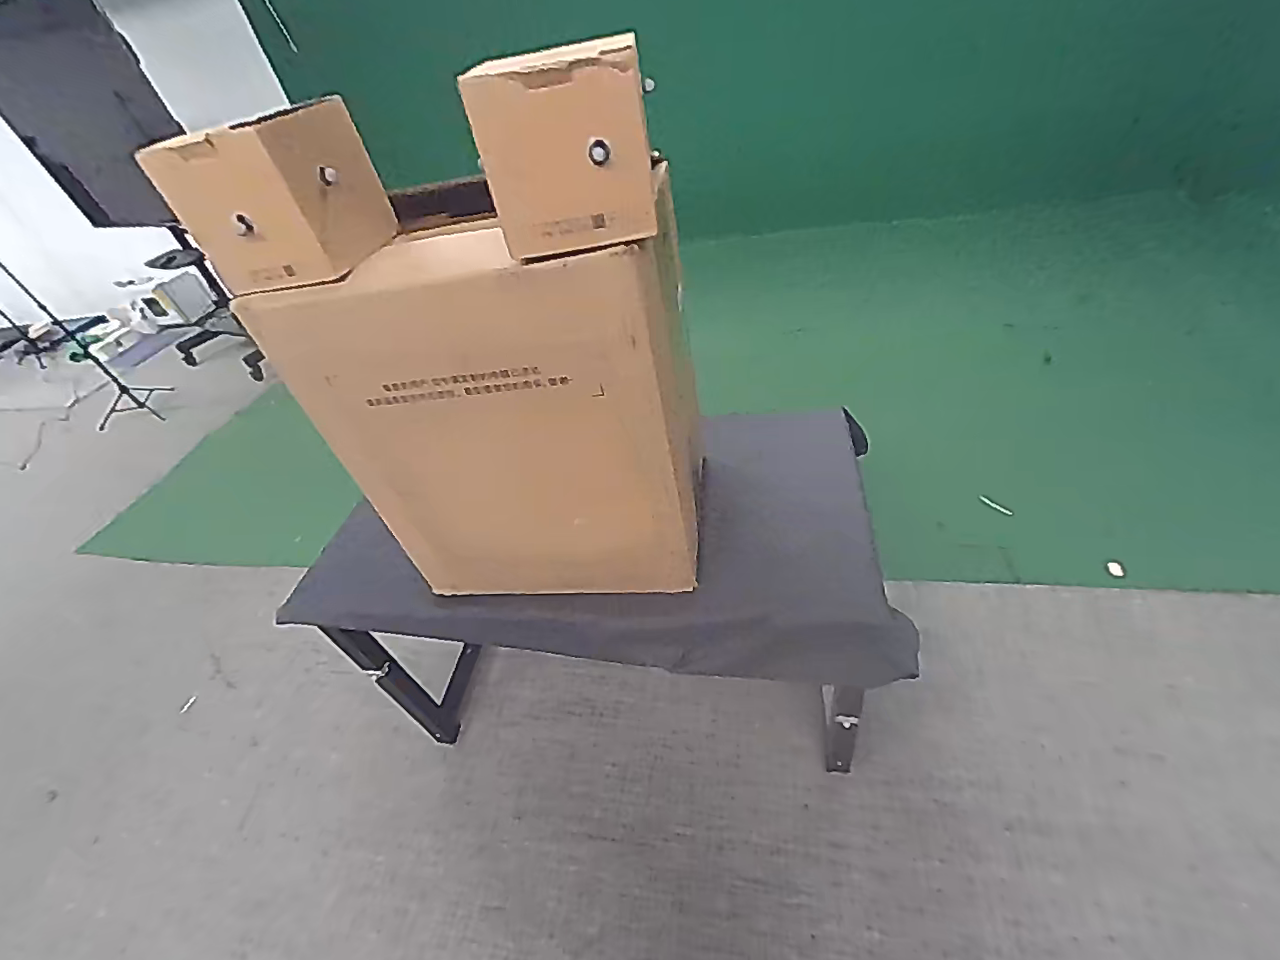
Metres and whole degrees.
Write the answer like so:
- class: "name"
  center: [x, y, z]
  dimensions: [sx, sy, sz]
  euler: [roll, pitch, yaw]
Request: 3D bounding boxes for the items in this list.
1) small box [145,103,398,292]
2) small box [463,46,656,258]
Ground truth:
- class: "small box"
  center: [-0.448, -0.354, 0.696]
  dimensions: [0.168, 0.176, 0.179]
  euler: [-3, 43, 13]
- class: "small box"
  center: [-0.074, -0.361, 0.607]
  dimensions: [0.168, 0.176, 0.179]
  euler: [-6, 41, 4]
